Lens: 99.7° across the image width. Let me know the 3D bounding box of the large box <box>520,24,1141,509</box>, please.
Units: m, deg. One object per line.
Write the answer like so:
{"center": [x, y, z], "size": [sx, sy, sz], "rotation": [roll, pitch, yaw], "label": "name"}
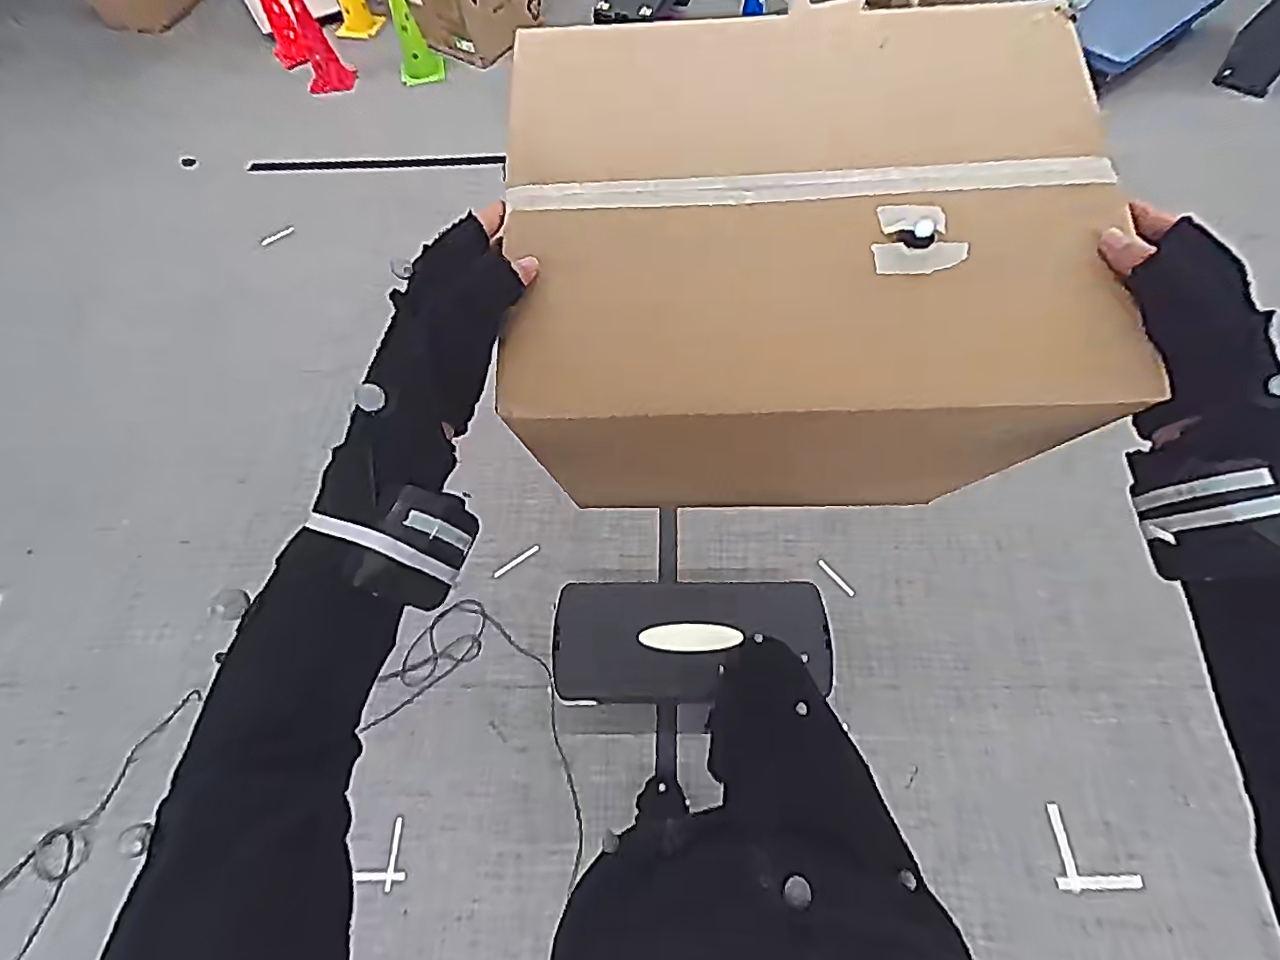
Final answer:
{"center": [0.118, -0.157, 0.525], "size": [0.408, 0.320, 0.320], "rotation": [-1, 76, 2], "label": "large box"}
